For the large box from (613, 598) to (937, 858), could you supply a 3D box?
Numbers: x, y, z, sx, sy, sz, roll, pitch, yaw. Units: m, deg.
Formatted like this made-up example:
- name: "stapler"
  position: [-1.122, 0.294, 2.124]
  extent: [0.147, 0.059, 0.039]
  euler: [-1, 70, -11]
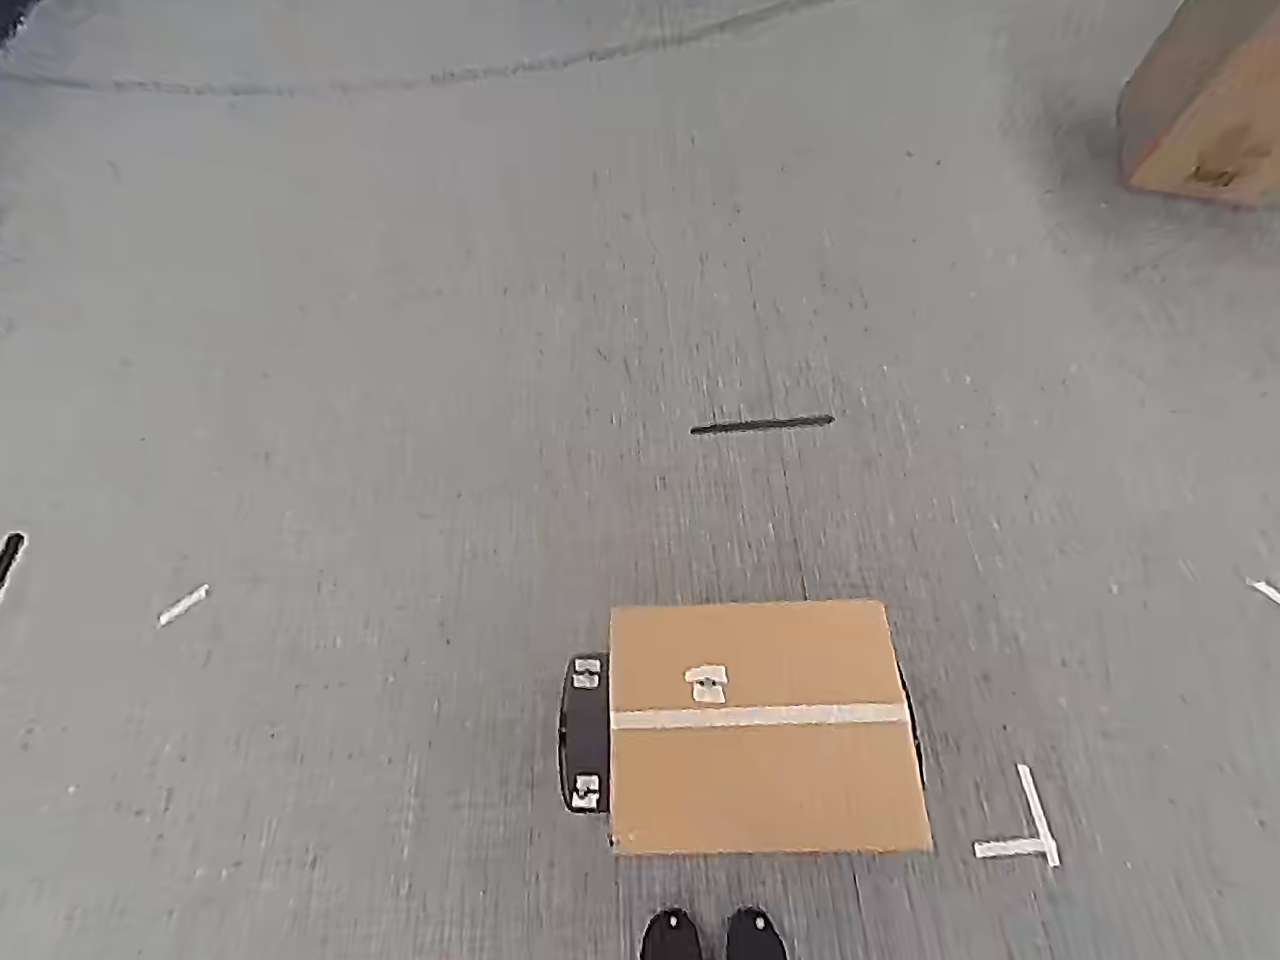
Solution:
- name: "large box"
  position: [0.175, 0.383, 0.866]
  extent: [0.408, 0.320, 0.320]
  euler: [-3, 64, 3]

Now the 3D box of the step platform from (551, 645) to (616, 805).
- name: "step platform"
  position: [0.171, 0.499, 1.076]
  extent: [0.684, 0.204, 0.286]
  euler: [2, 65, 5]
